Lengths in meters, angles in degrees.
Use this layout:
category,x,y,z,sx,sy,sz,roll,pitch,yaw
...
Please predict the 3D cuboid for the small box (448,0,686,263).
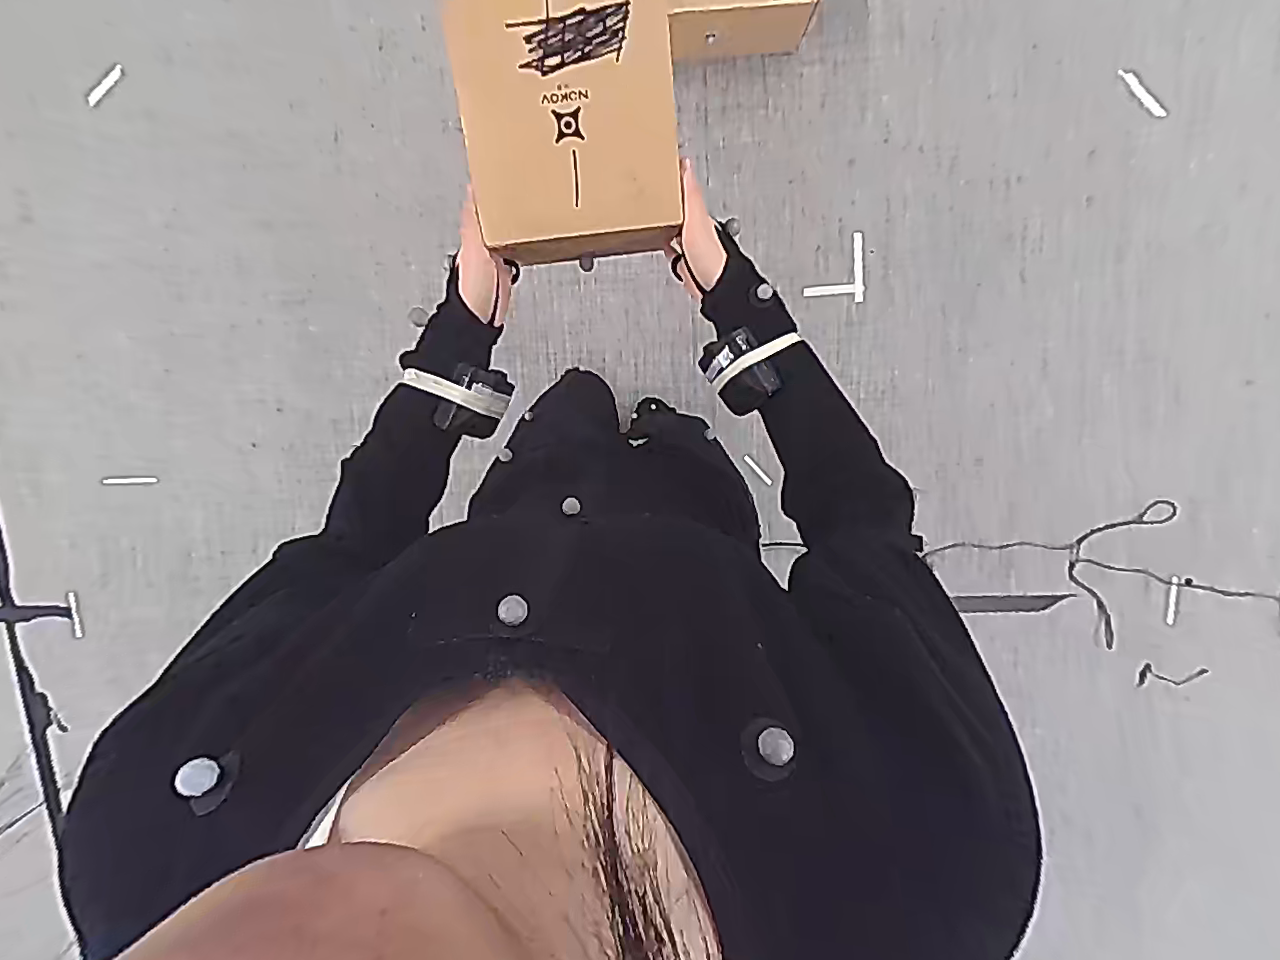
category,x,y,z,sx,sy,sz,roll,pitch,yaw
small box,-0.055,-0.305,0.487,0.168,0.176,0.179,-6,107,0
